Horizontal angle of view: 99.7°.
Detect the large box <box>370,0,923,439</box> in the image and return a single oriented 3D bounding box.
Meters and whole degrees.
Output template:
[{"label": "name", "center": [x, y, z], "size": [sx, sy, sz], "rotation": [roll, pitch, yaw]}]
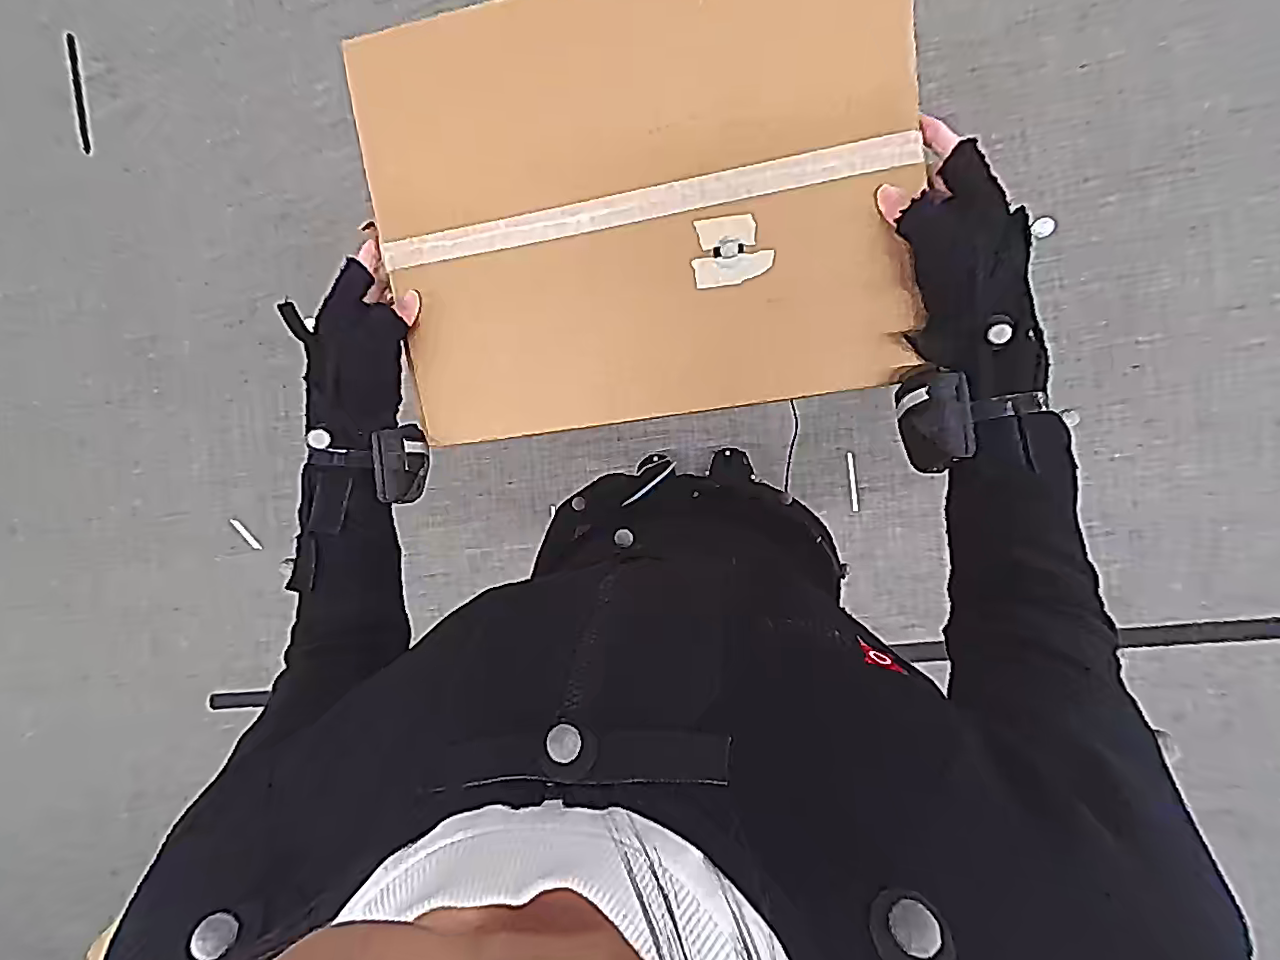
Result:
[{"label": "large box", "center": [0.018, -0.235, 0.564], "size": [0.408, 0.320, 0.320], "rotation": [-7, 100, 9]}]
